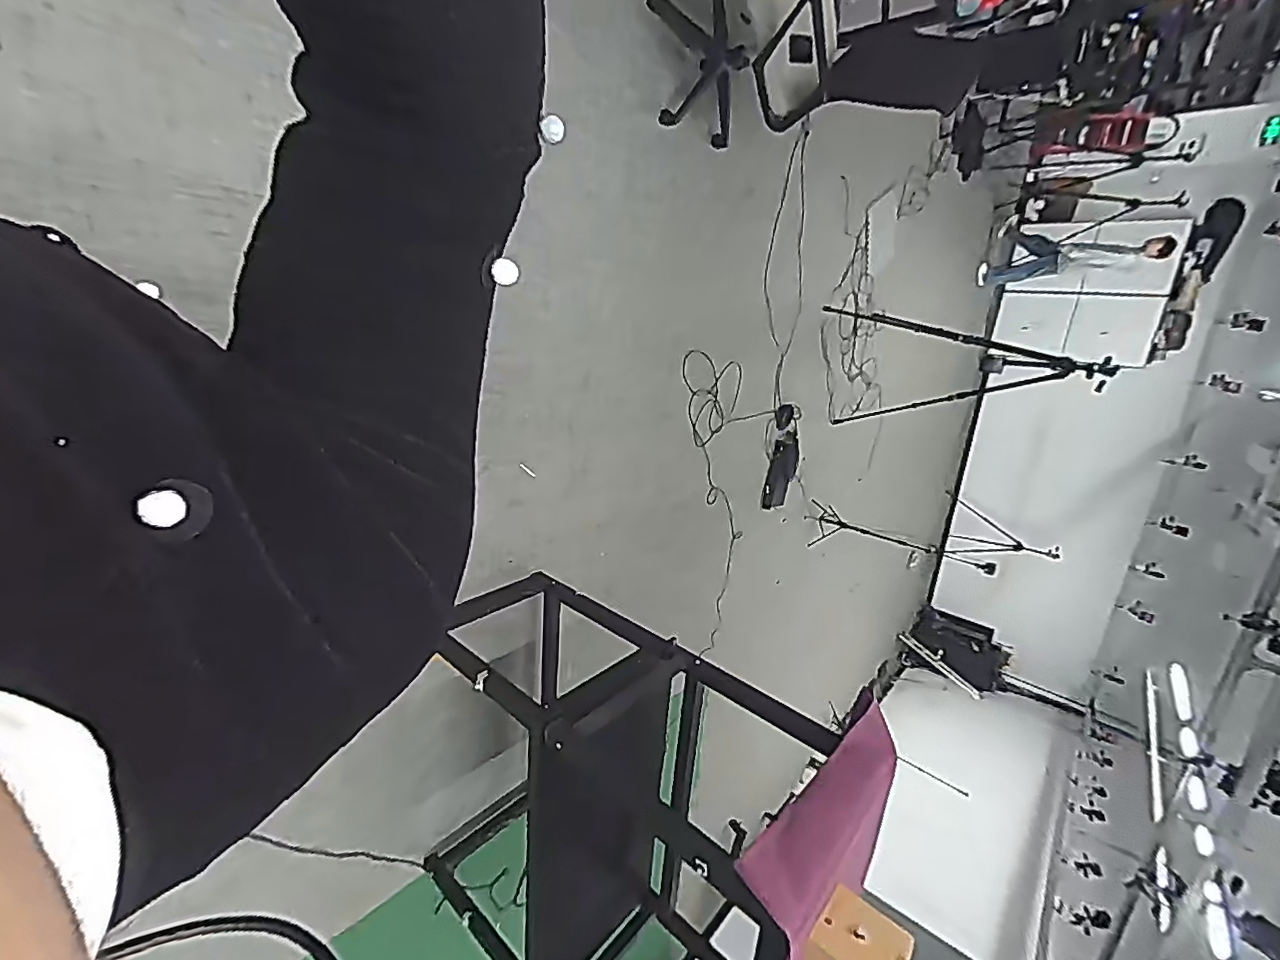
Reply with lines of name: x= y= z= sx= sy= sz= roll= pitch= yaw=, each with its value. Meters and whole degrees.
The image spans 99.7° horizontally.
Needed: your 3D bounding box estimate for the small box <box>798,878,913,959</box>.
small box: x=0.447 y=0.989 z=1.135 sx=0.168 sy=0.176 sz=0.179 roll=-11 pitch=113 yaw=-48
